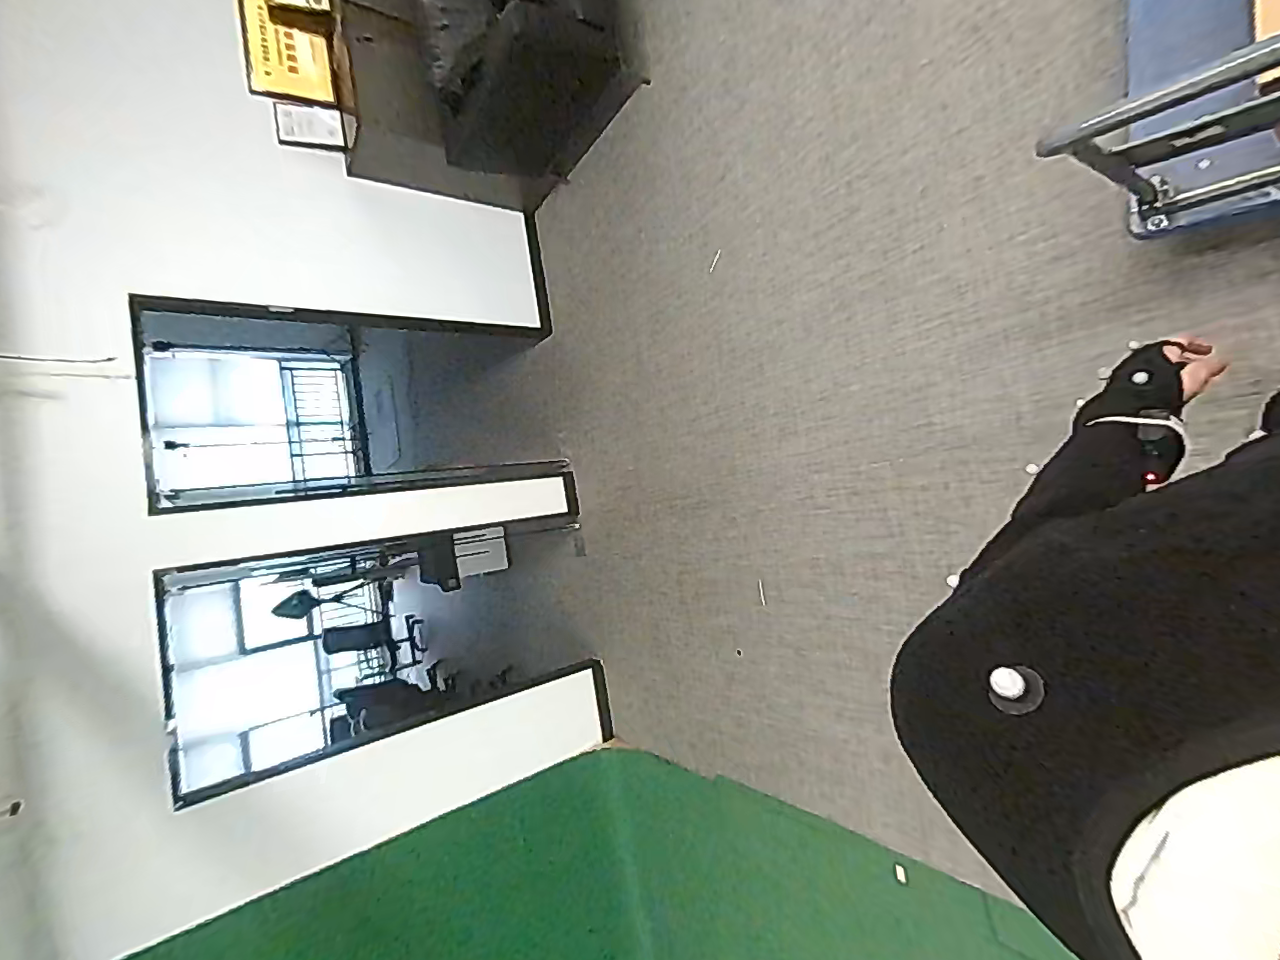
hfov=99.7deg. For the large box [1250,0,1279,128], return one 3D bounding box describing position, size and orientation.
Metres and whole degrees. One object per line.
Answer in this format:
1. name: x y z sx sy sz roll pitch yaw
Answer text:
1. large box: 1.078 -0.766 0.729 0.320 0.320 0.408 -1 94 53
